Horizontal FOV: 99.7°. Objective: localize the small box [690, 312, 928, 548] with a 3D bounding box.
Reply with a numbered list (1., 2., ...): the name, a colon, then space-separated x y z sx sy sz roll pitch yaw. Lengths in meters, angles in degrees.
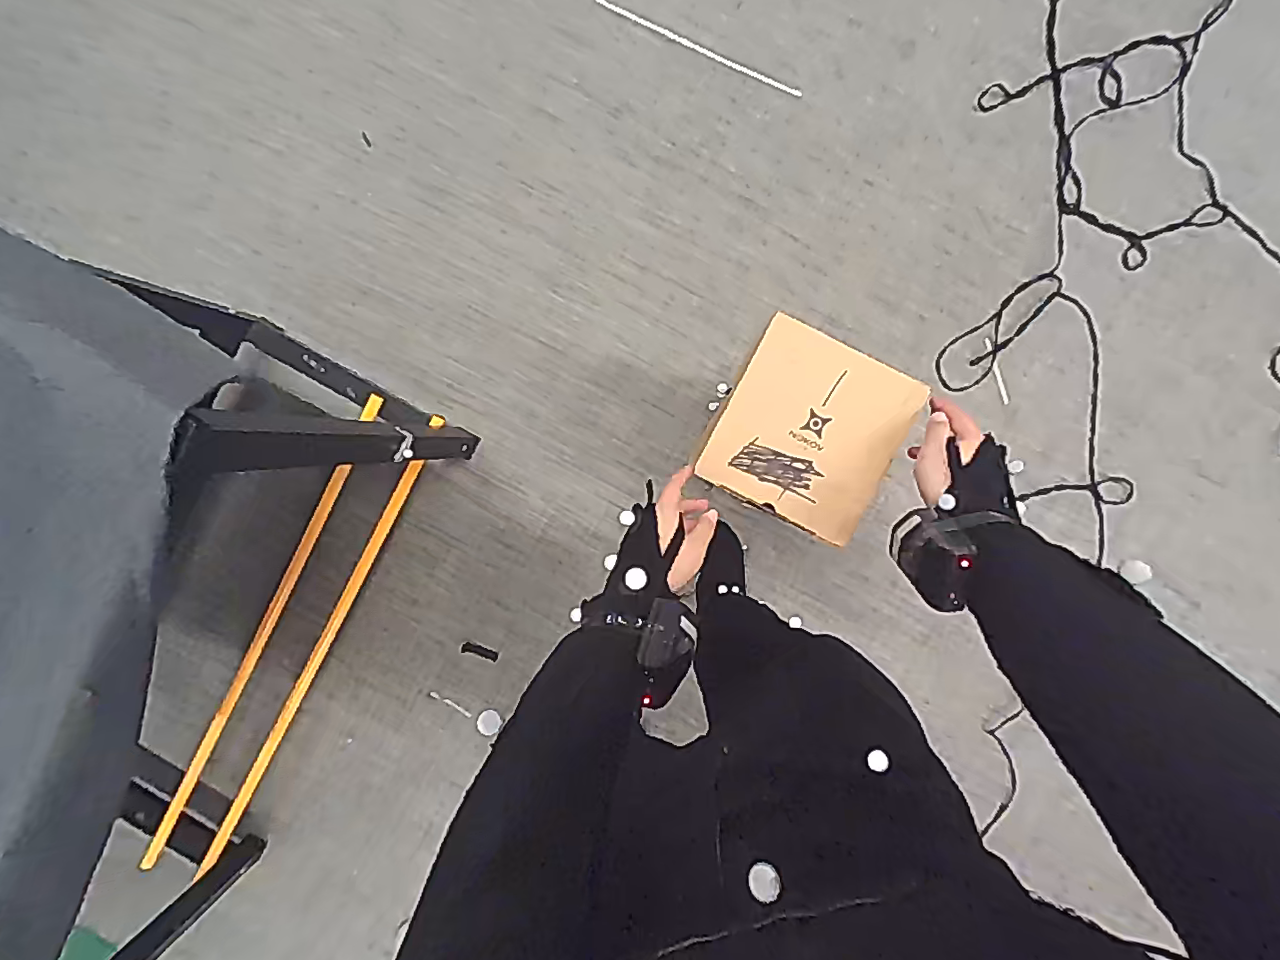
1. small box: 0.166 -0.050 0.594 0.168 0.176 0.179 28 94 2
